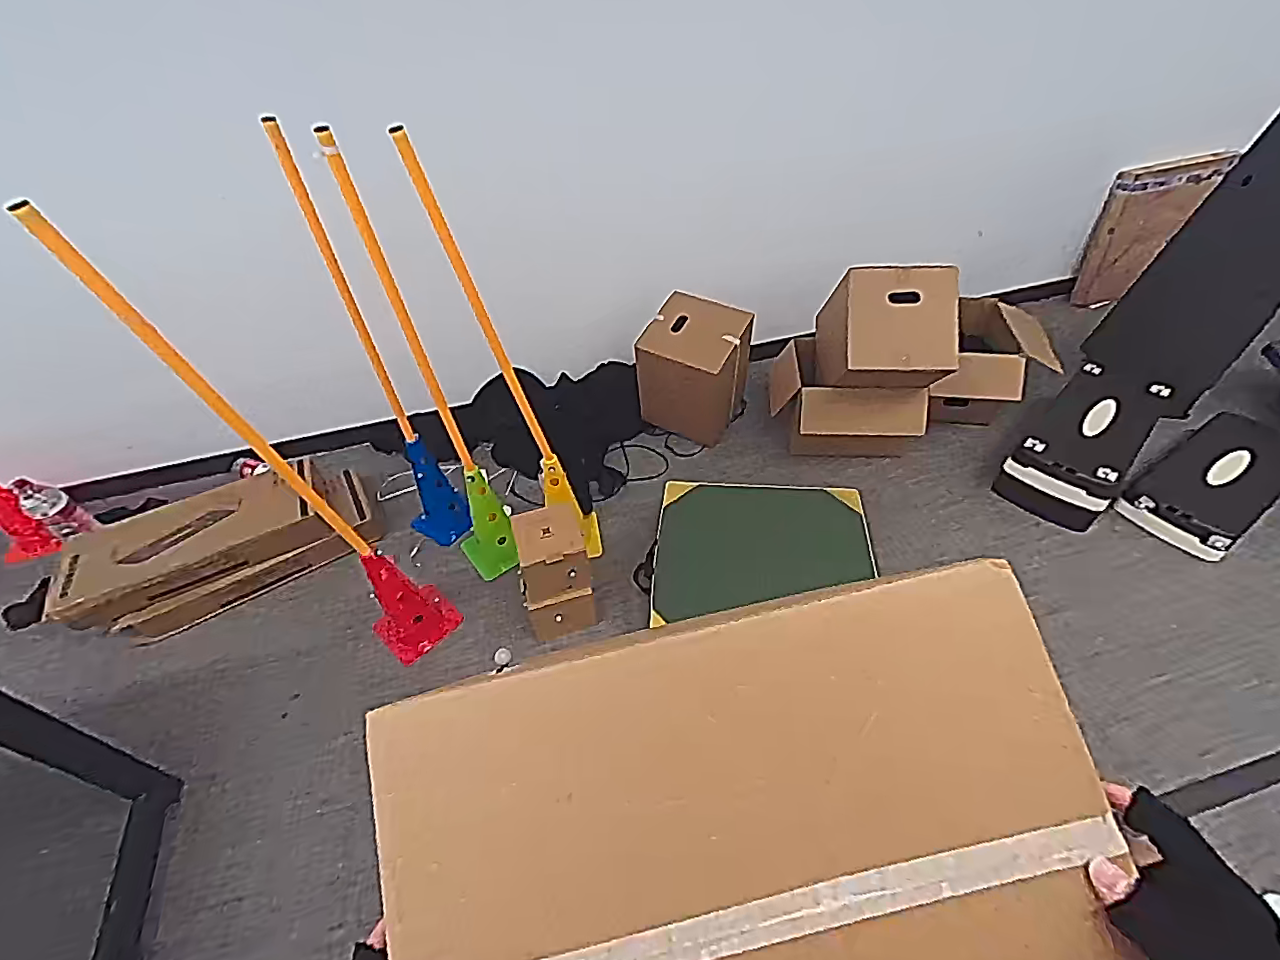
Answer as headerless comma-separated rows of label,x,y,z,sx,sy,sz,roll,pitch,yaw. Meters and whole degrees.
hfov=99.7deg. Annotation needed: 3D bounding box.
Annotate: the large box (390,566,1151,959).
large box,0.075,0.285,0.450,0.408,0.320,0.320,-14,76,-1
